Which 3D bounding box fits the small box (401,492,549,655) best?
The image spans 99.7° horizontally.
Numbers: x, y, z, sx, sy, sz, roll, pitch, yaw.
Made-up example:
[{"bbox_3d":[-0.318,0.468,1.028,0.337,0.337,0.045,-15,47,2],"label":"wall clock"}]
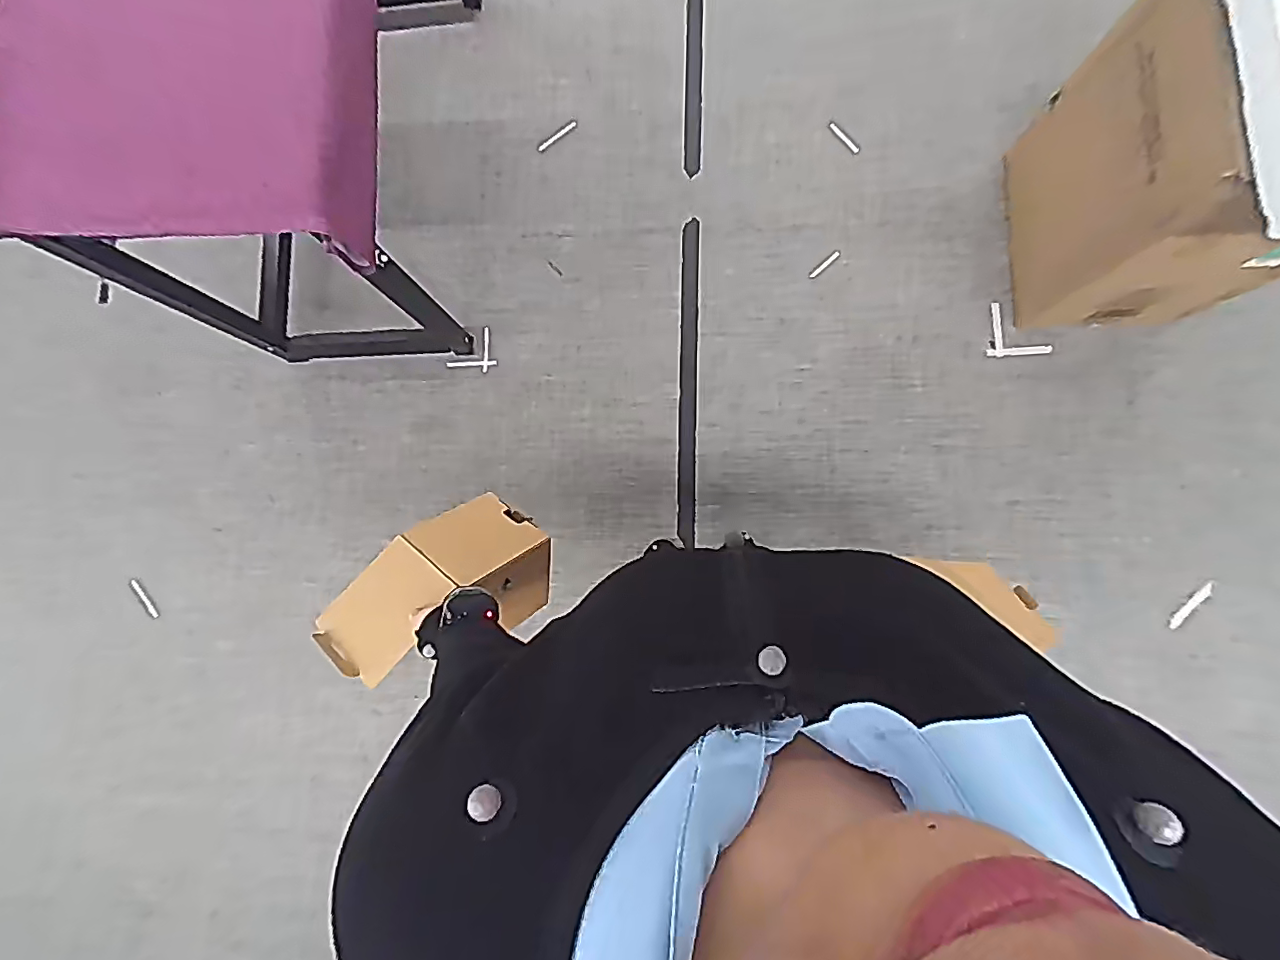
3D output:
[{"bbox_3d":[-0.270,0.156,0.911,0.168,0.179,0.176,32,131,27],"label":"small box"}]
